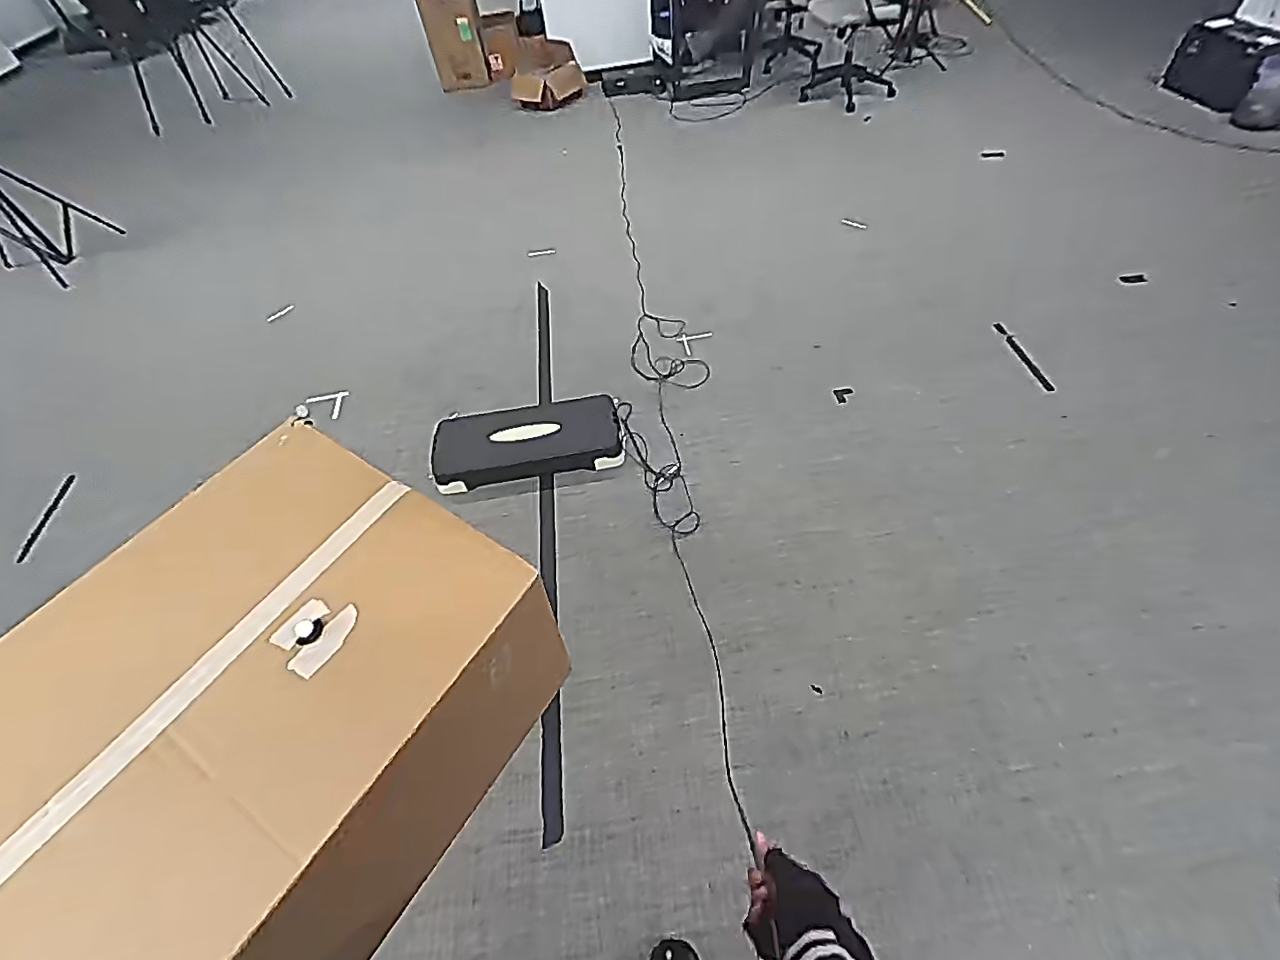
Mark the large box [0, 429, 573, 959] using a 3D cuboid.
[{"bbox_3d":[-0.317,0.233,0.544,0.320,0.320,0.408,28,60,17],"label":"large box"}]
